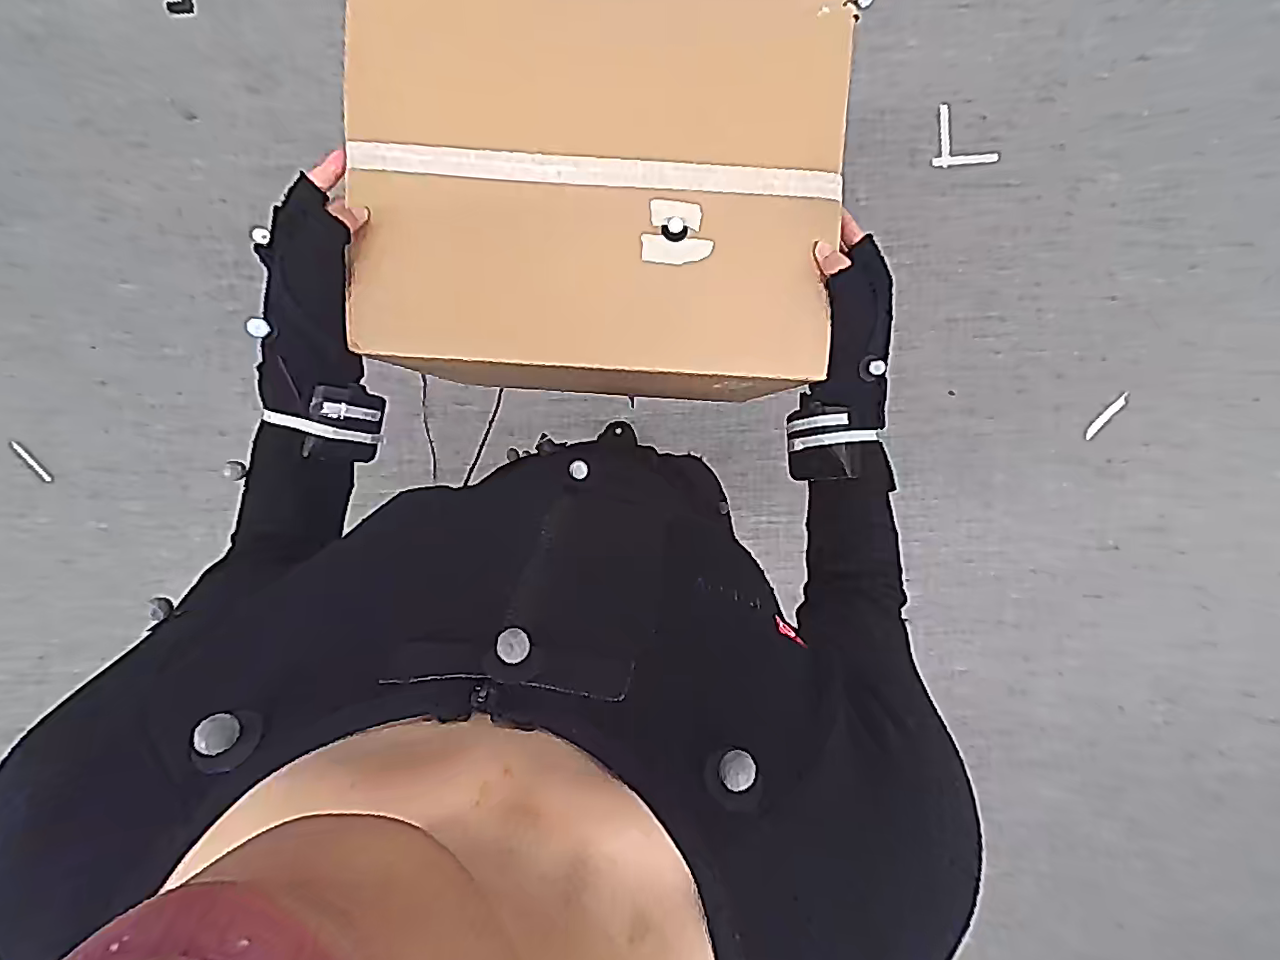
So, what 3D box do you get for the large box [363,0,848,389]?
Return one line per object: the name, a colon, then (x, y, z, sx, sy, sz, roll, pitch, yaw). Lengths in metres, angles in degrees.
large box: (-0.036, -0.275, 0.601, 0.408, 0.320, 0.320, 3, 95, -2)
